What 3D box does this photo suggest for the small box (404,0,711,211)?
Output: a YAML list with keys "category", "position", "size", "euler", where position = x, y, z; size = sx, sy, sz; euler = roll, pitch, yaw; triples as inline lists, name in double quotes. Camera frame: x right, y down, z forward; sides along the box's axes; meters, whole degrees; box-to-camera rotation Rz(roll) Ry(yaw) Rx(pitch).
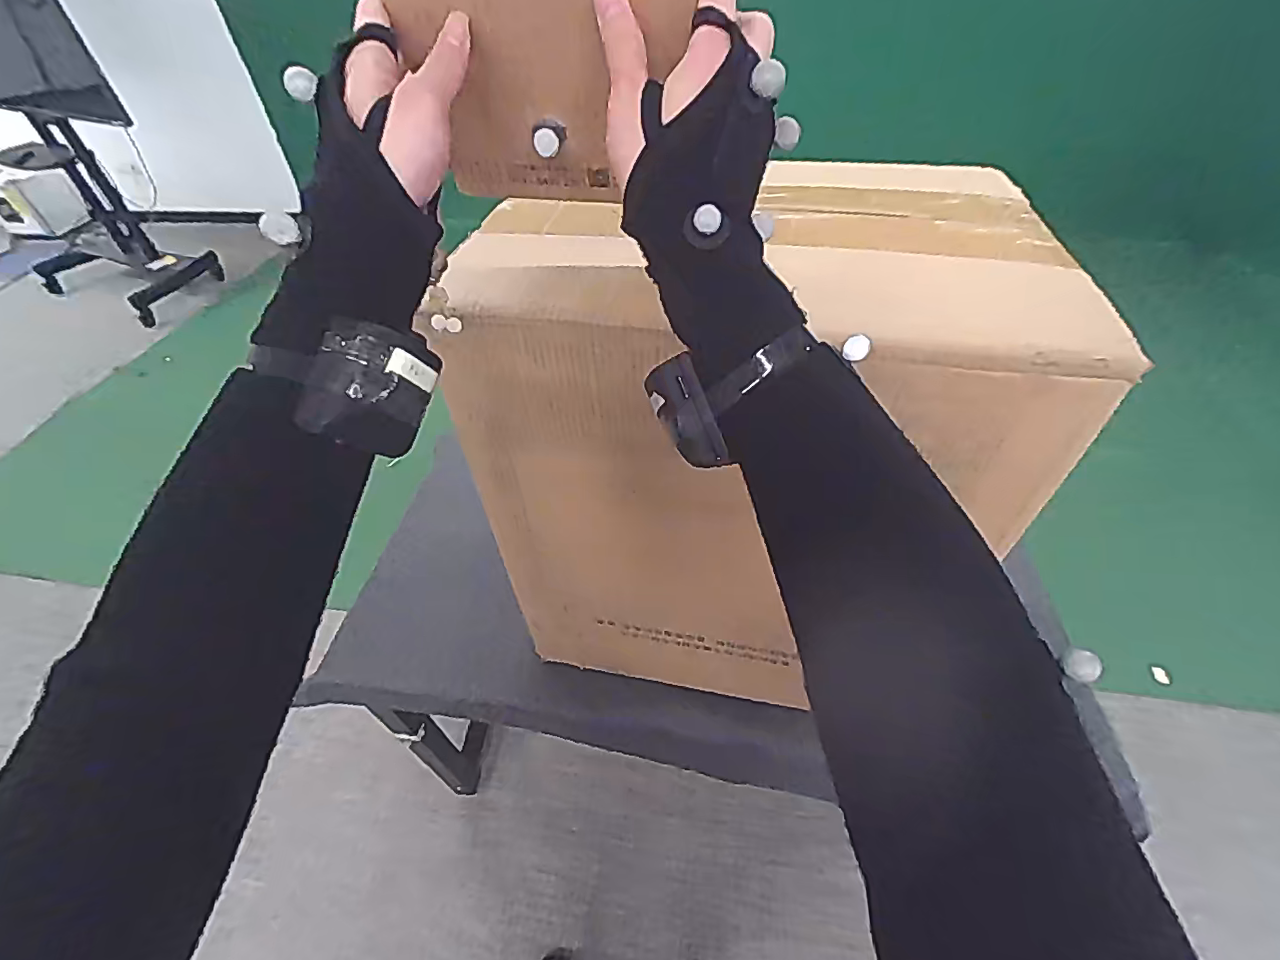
- category: "small box"
  position: [-0.040, -0.307, 0.344]
  size: [0.168, 0.176, 0.179]
  euler: [6, 68, 6]
